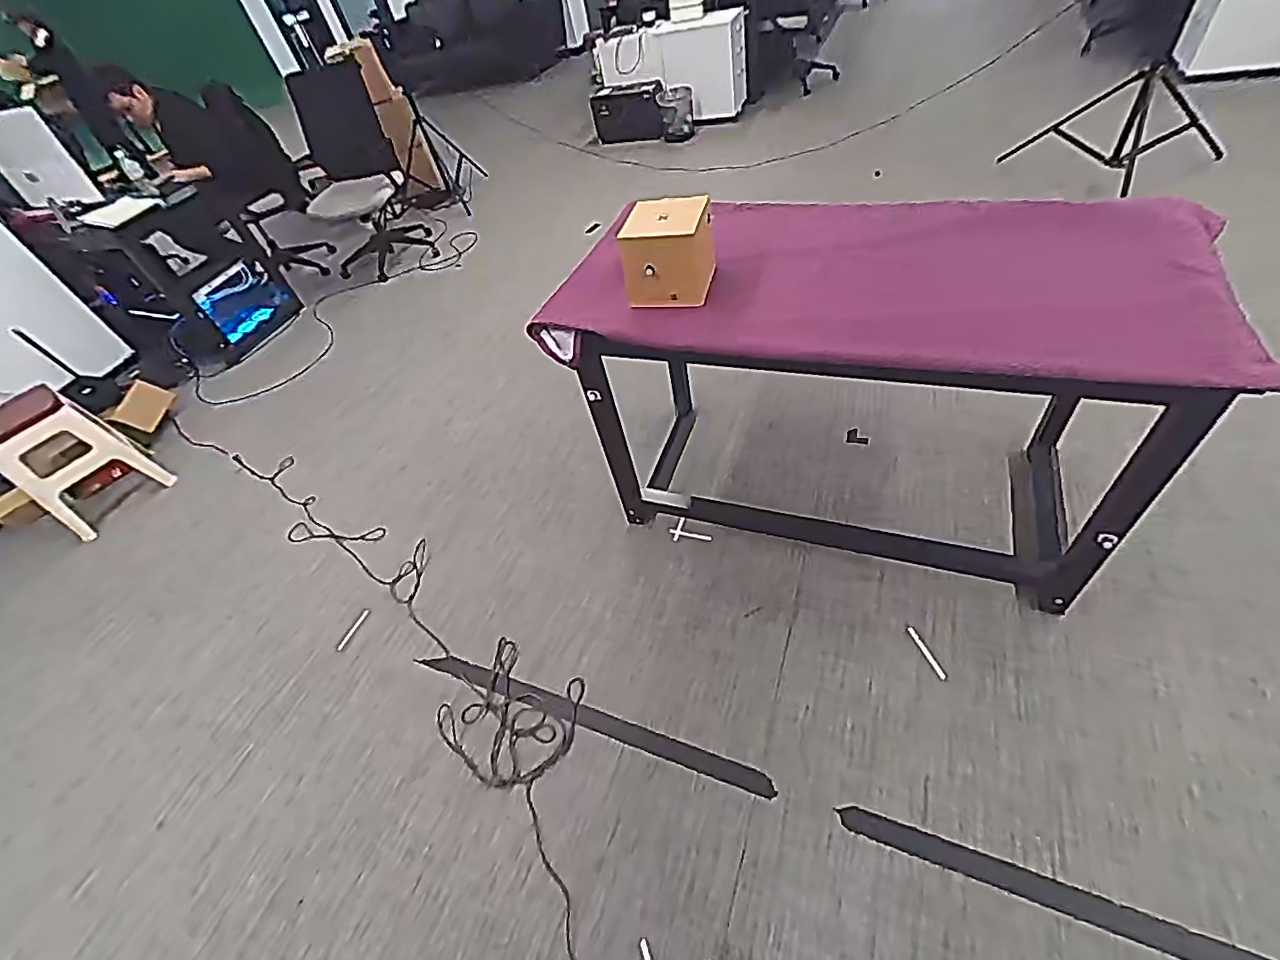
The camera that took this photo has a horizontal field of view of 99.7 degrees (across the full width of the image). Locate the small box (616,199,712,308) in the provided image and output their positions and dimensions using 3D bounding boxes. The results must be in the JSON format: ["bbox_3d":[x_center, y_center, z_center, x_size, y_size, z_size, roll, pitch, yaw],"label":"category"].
[{"bbox_3d":[0.063,-0.498,1.205,0.168,0.176,0.179,4,50,17],"label":"small box"}]
